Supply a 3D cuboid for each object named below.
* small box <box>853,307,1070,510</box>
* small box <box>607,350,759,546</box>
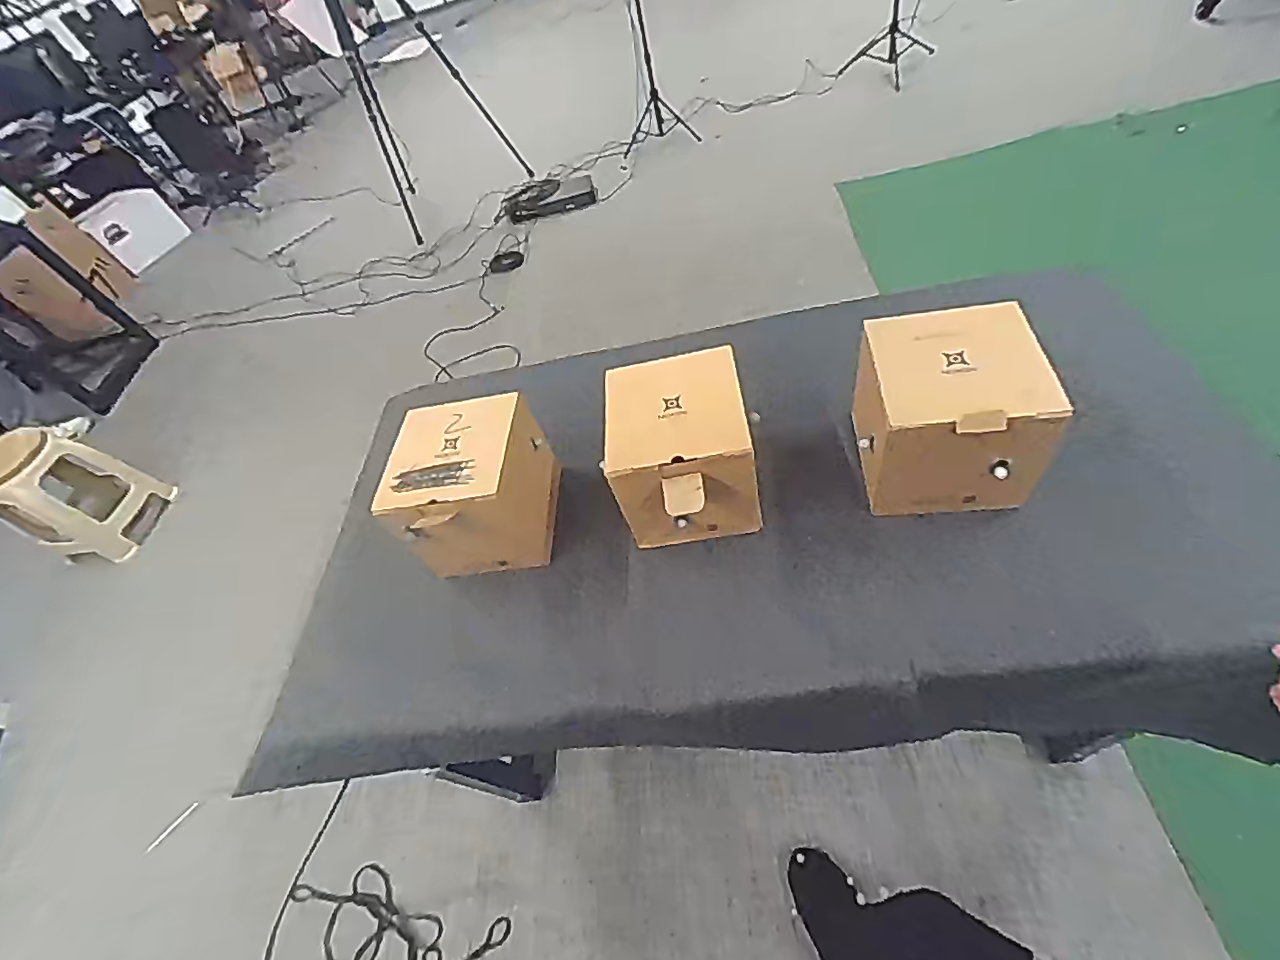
[{"bbox_3d":[0.357,-0.075,0.641,0.168,0.176,0.179,-3,52,12],"label":"small box"},{"bbox_3d":[0.058,-0.037,0.701,0.168,0.176,0.179,-9,52,9],"label":"small box"}]
